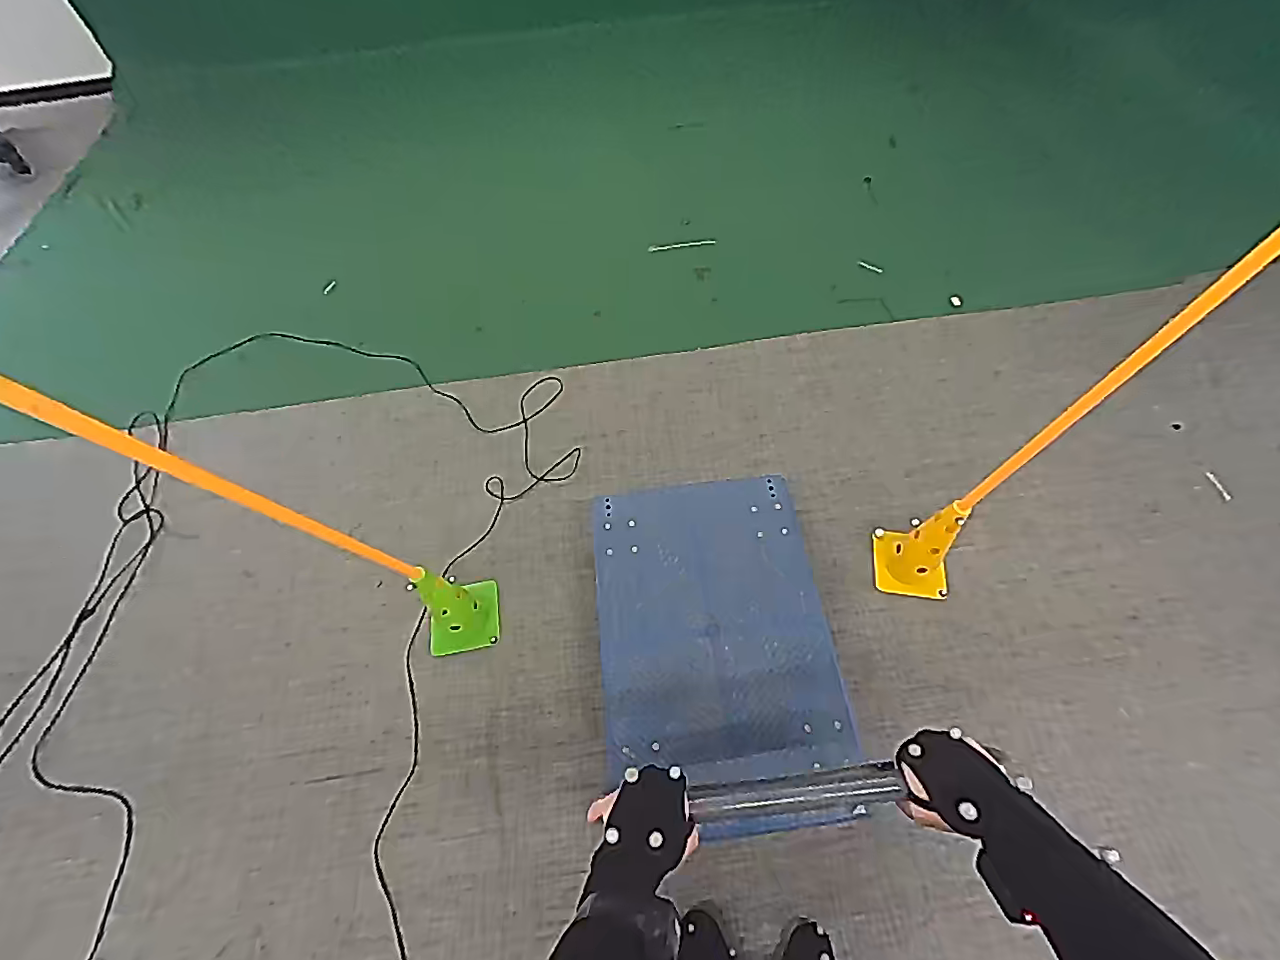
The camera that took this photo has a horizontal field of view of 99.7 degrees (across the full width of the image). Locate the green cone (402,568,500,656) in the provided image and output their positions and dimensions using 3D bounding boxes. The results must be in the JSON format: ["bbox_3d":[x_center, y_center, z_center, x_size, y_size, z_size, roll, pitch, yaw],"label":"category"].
[{"bbox_3d":[-0.534,0.317,1.457,0.202,0.368,0.200,-12,58,-1],"label":"green cone"}]
